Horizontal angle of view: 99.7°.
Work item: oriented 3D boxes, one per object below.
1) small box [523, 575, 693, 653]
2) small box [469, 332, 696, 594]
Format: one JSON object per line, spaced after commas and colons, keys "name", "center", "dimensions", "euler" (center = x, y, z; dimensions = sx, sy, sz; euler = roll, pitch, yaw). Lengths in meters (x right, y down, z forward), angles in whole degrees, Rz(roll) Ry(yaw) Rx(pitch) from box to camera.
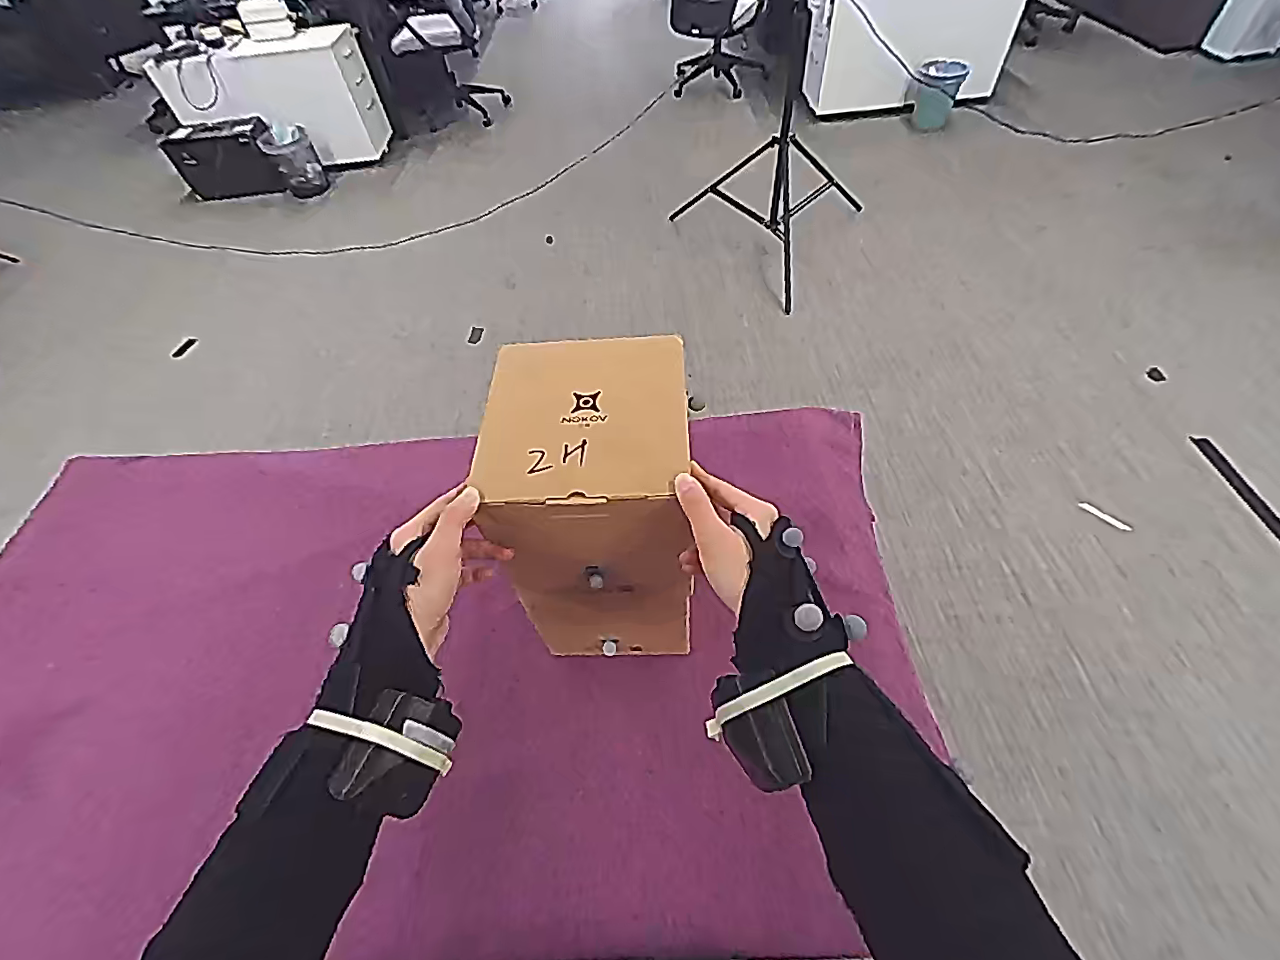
{"name": "small box", "center": [-0.025, 0.086, 0.629], "dimensions": [0.168, 0.176, 0.179], "euler": [-2, 54, 4]}
{"name": "small box", "center": [-0.035, -0.012, 0.496], "dimensions": [0.168, 0.176, 0.179], "euler": [-2, 53, 5]}
